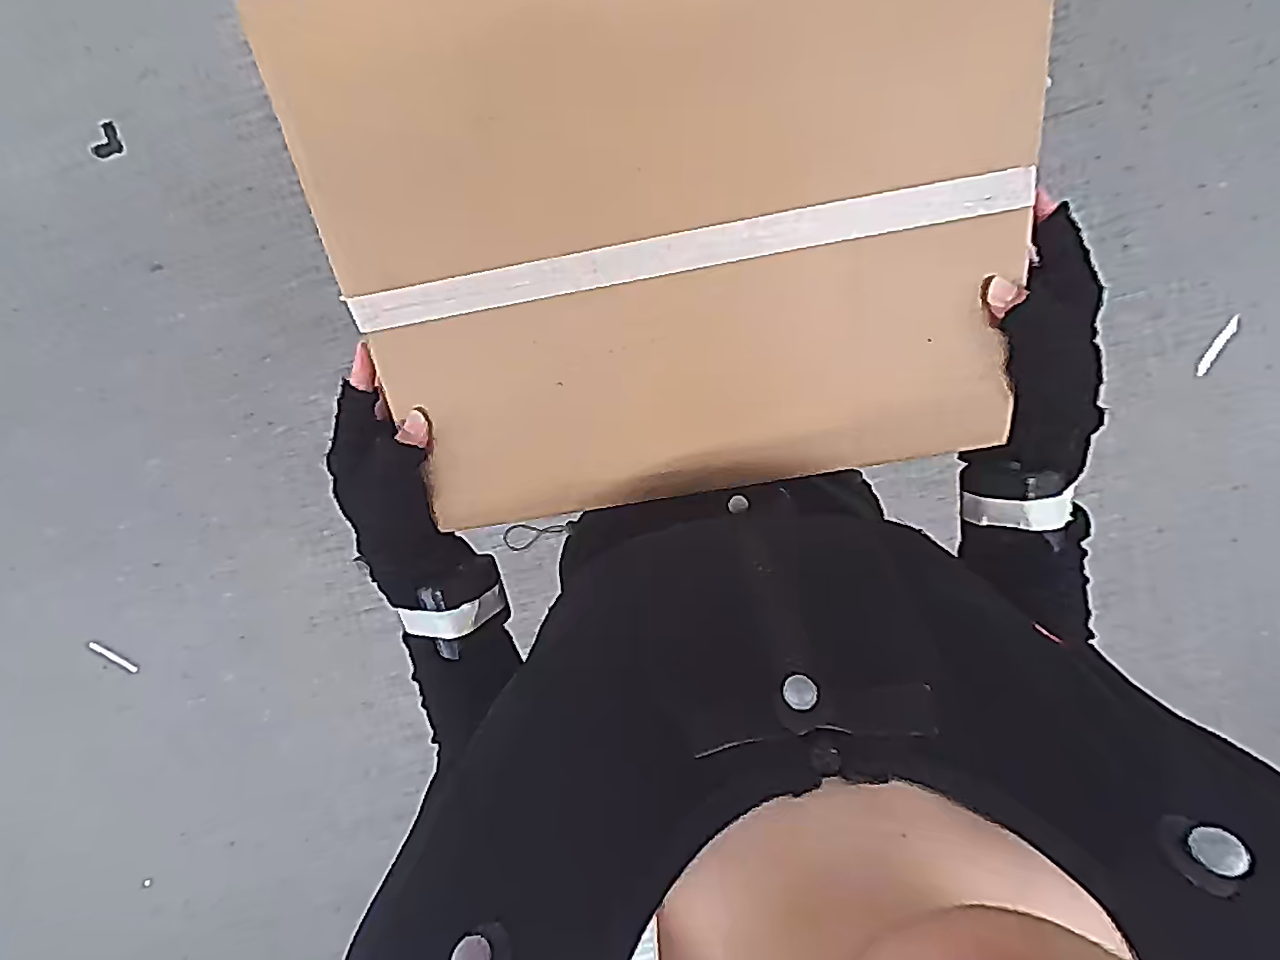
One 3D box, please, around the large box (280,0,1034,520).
[{"bbox_3d":[0.024,-0.198,0.468,0.408,0.320,0.320,-9,115,4],"label":"large box"}]
